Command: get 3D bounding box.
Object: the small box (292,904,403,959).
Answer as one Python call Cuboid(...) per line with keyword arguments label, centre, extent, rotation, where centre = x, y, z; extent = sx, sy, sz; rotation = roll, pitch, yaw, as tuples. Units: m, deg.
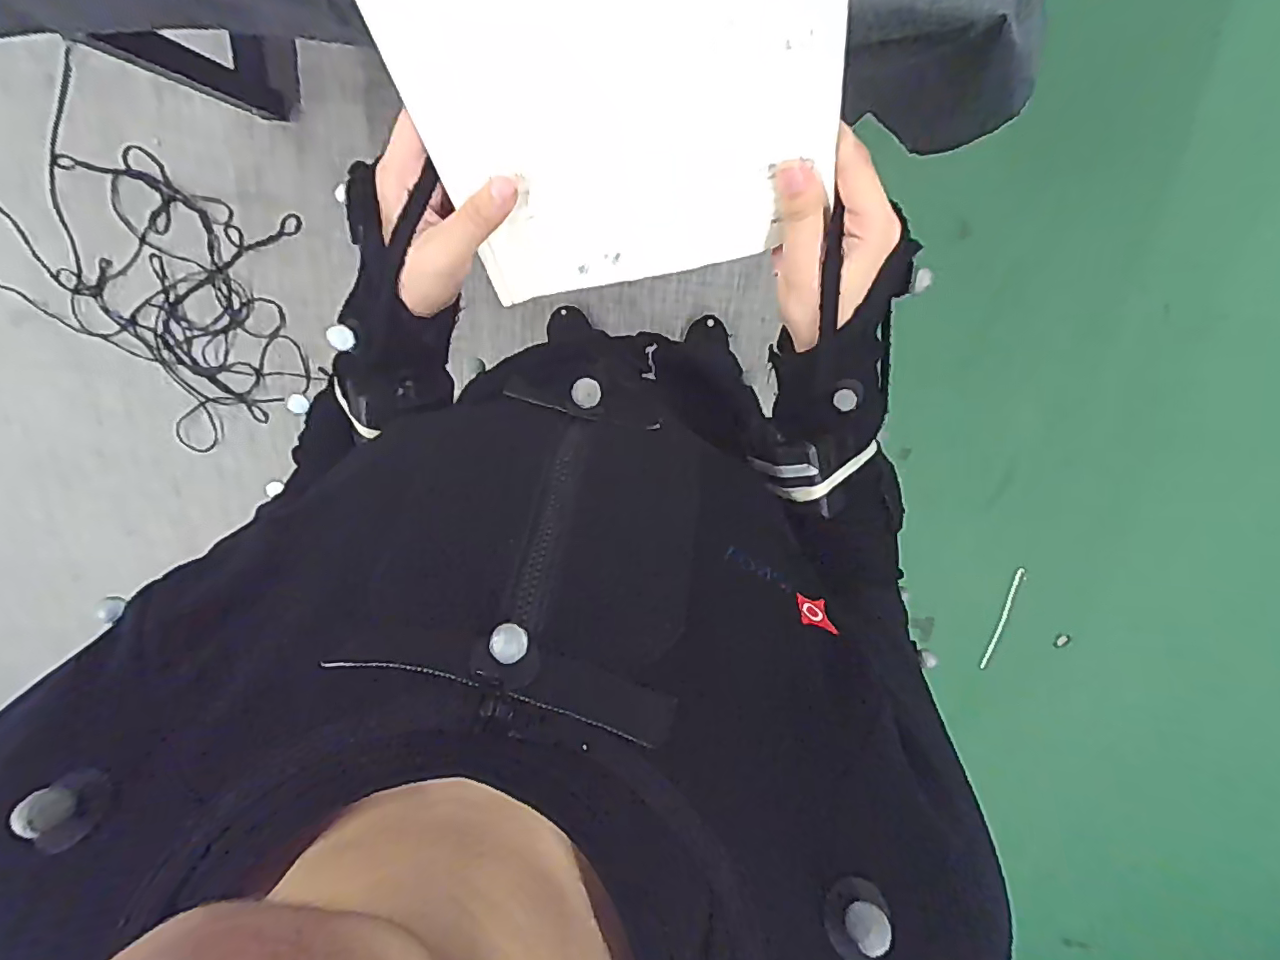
Cuboid(label="small box", centre=(-0.574, 0.971, 1.040), extent=(0.168, 0.176, 0.179), rotation=(8, 110, 1))
